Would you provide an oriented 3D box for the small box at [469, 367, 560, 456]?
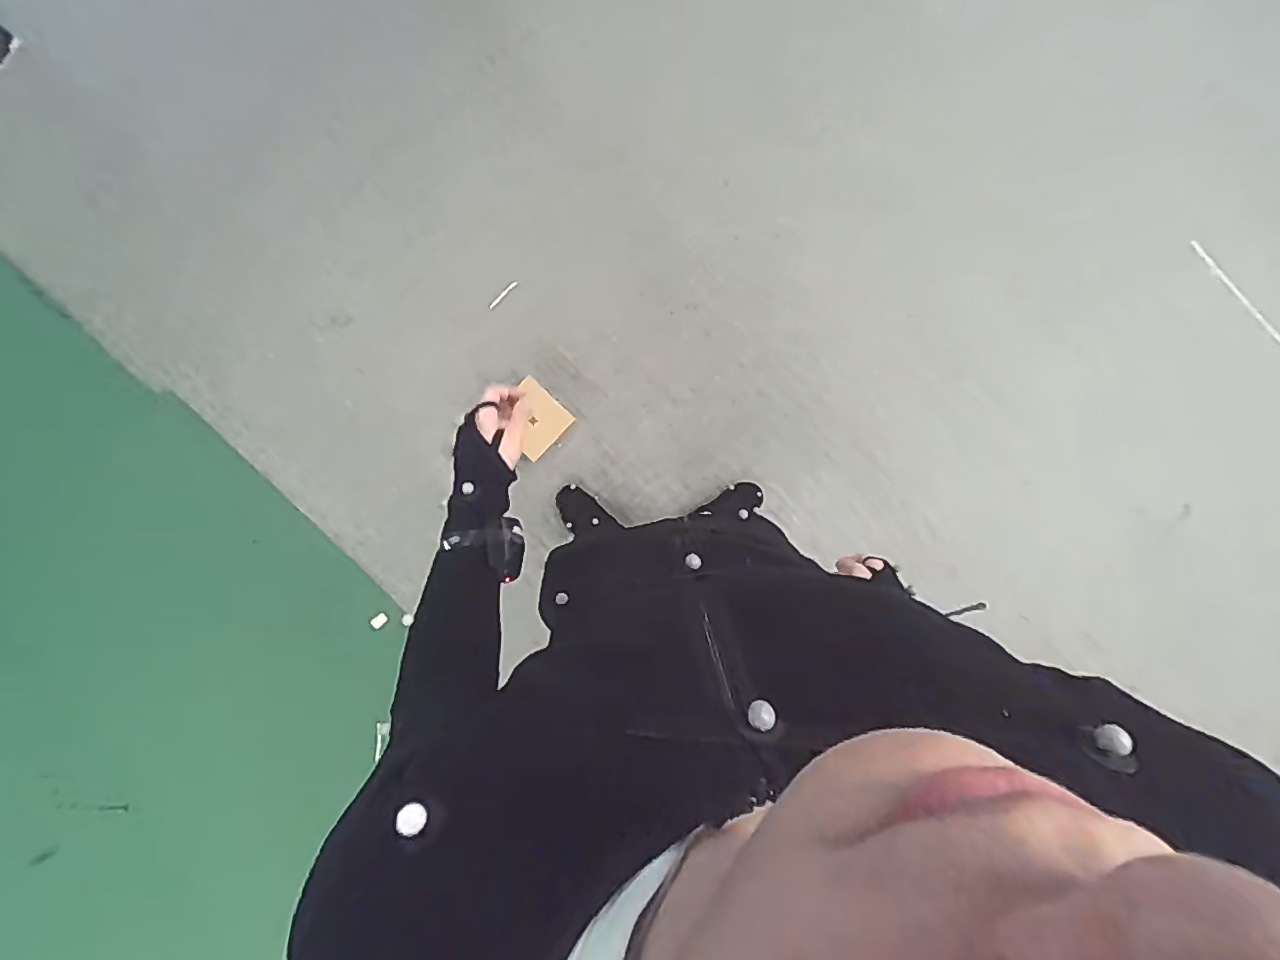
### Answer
[{"bbox_3d":[-0.338,-0.187,1.501,0.168,0.176,0.179,-45,95,-1],"label":"small box"}]
